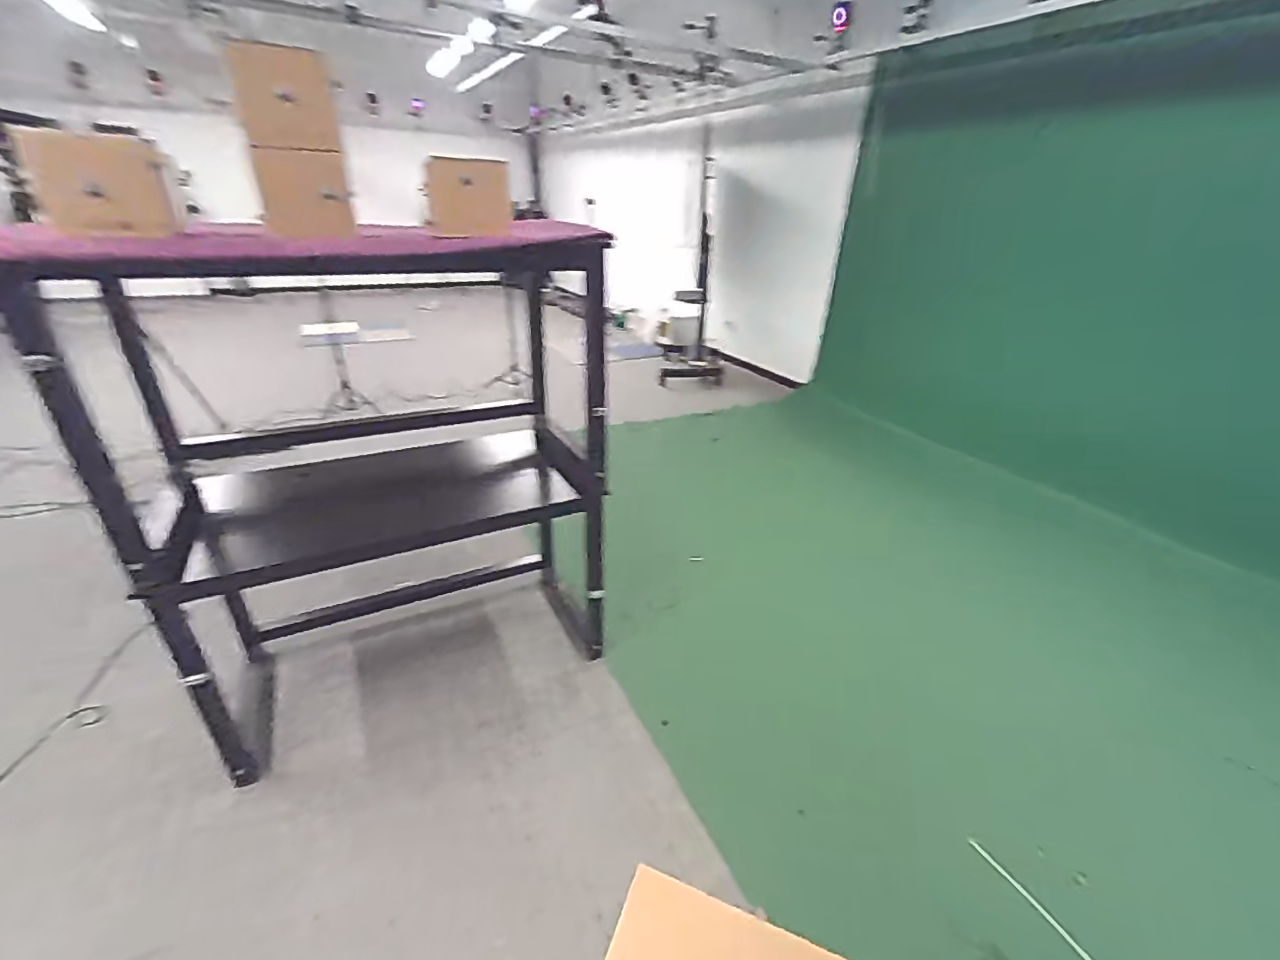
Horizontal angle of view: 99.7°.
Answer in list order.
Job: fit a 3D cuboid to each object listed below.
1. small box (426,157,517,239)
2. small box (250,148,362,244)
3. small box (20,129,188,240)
[{"bbox_3d":[-0.416,-0.690,1.337,0.179,0.176,0.168,-11,28,-24],"label":"small box"},{"bbox_3d":[-0.713,-0.612,1.171,0.179,0.176,0.168,-13,31,-26],"label":"small box"},{"bbox_3d":[-0.992,-0.552,1.023,0.168,0.176,0.179,-11,31,-27],"label":"small box"}]
